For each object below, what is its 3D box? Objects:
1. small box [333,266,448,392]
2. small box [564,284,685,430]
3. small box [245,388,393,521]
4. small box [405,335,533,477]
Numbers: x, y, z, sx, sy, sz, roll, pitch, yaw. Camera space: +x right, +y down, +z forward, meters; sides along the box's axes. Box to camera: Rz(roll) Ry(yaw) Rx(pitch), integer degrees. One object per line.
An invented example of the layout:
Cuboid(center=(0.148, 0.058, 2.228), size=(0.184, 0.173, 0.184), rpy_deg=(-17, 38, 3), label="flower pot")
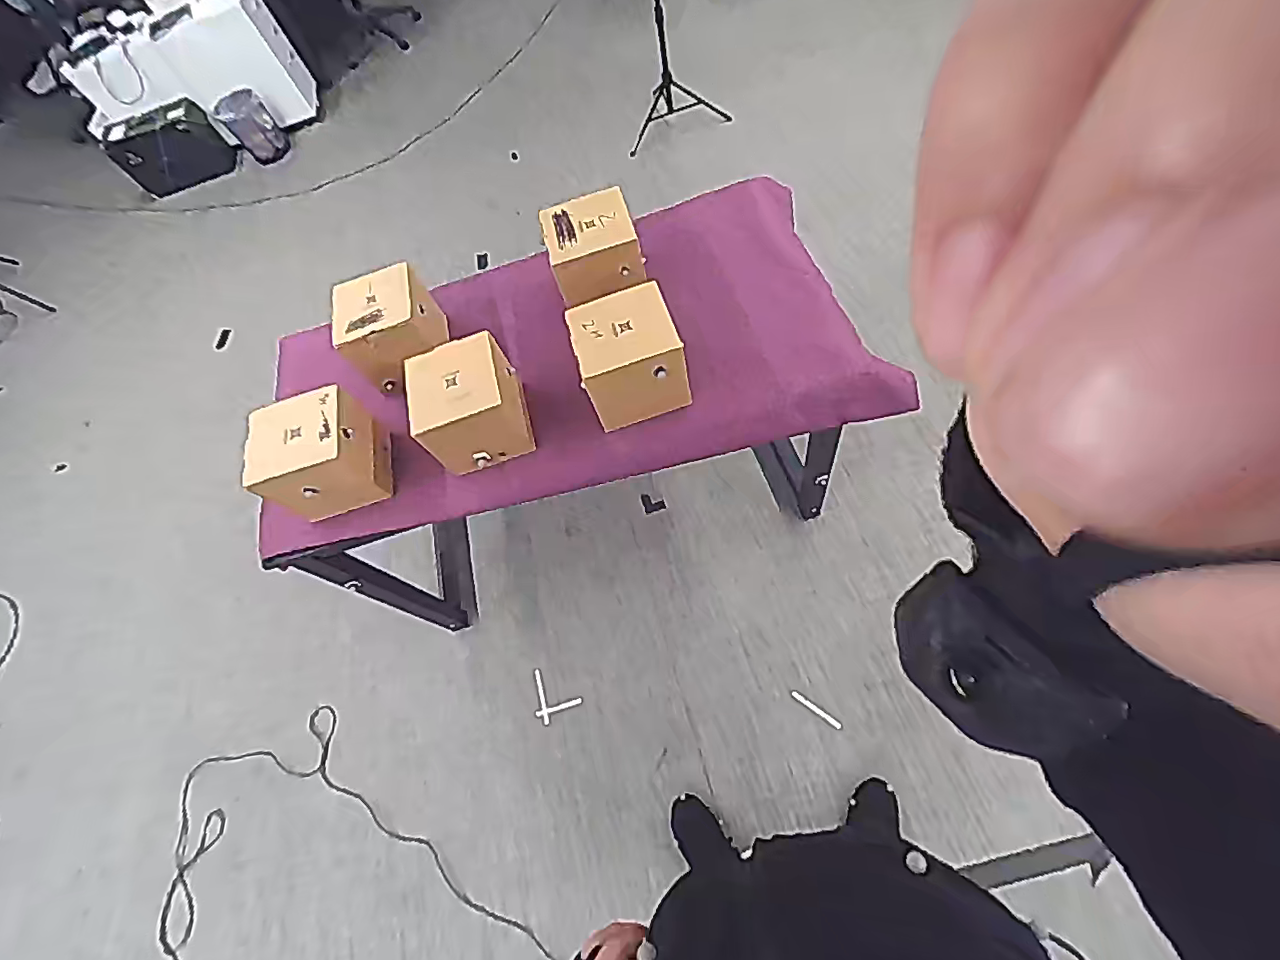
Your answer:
Cuboid(center=(-0.521, -0.310, 1.148), size=(0.168, 0.176, 0.179), rpy_deg=(-19, 61, 2), label="small box")
Cuboid(center=(-0.021, -0.219, 0.995), size=(0.179, 0.176, 0.168), rpy_deg=(-19, 61, 3), label="small box")
Cuboid(center=(-0.598, -0.041, 1.027), size=(0.179, 0.176, 0.168), rpy_deg=(-18, 62, 3), label="small box")
Cuboid(center=(-0.317, -0.133, 1.018), size=(0.168, 0.176, 0.179), rpy_deg=(-19, 63, 3), label="small box")
